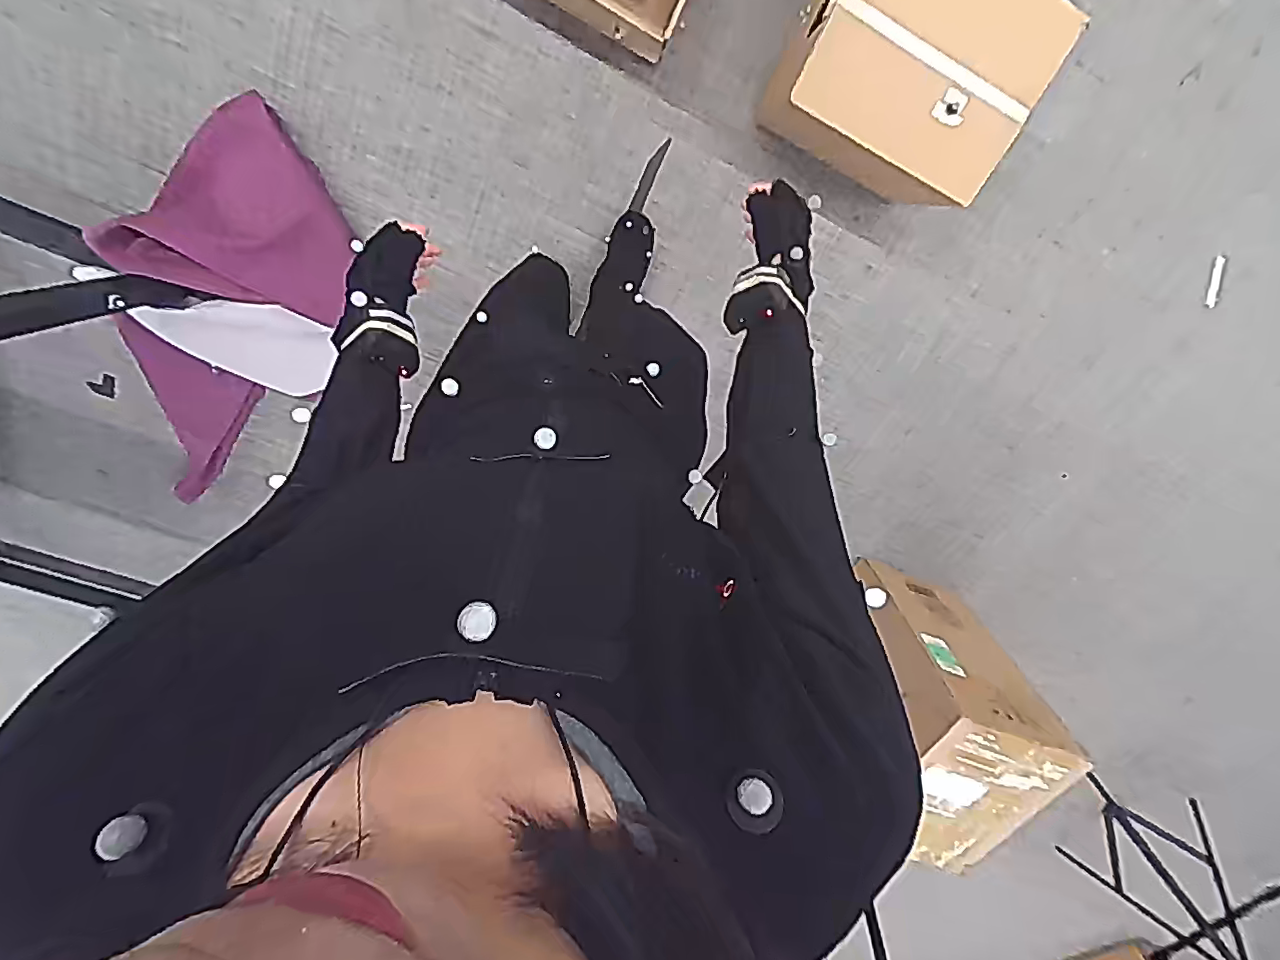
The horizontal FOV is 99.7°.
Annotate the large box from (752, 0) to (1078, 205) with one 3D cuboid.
[{"bbox_3d":[0.490,-0.782,1.058,0.408,0.320,0.320,21,116,-13],"label":"large box"}]
